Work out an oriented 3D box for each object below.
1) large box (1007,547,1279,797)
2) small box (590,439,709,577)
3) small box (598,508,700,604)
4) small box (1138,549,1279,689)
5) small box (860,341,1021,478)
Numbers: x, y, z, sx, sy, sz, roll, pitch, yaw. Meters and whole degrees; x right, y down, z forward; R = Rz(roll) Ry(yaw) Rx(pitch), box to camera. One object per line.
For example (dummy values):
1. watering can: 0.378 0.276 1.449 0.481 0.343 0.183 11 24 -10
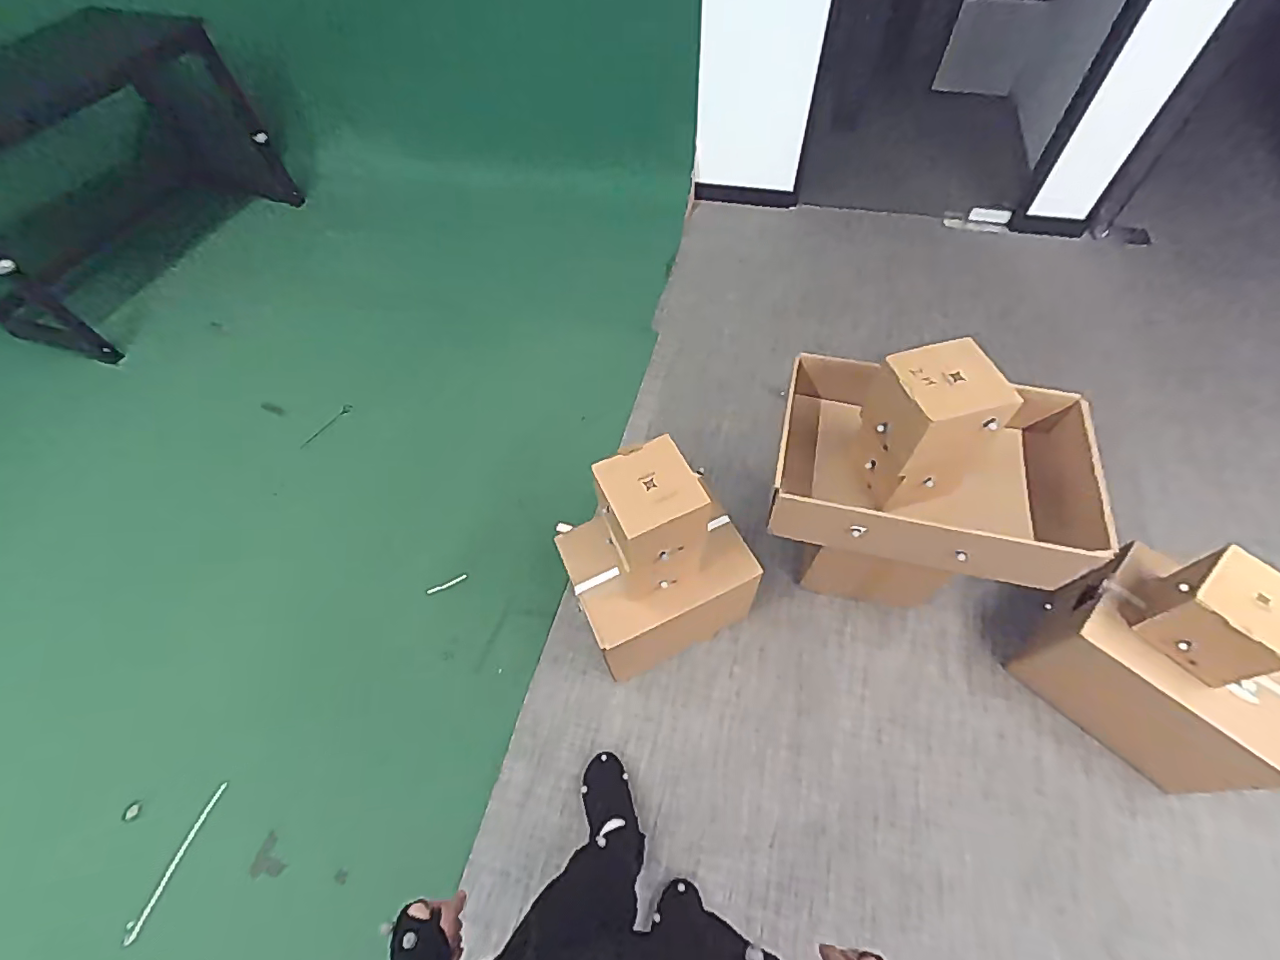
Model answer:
1. large box: 1.166 0.435 1.228 0.320 0.320 0.408 -40 65 -21
2. small box: 0.017 0.057 1.045 0.168 0.176 0.179 -23 59 -11
3. small box: 0.018 0.143 1.184 0.168 0.176 0.179 -20 59 -10
4. small box: 1.133 0.271 1.045 0.179 0.176 0.168 -36 63 -20
5. small box: 0.546 -0.128 1.011 0.179 0.176 0.168 -14 57 -5
